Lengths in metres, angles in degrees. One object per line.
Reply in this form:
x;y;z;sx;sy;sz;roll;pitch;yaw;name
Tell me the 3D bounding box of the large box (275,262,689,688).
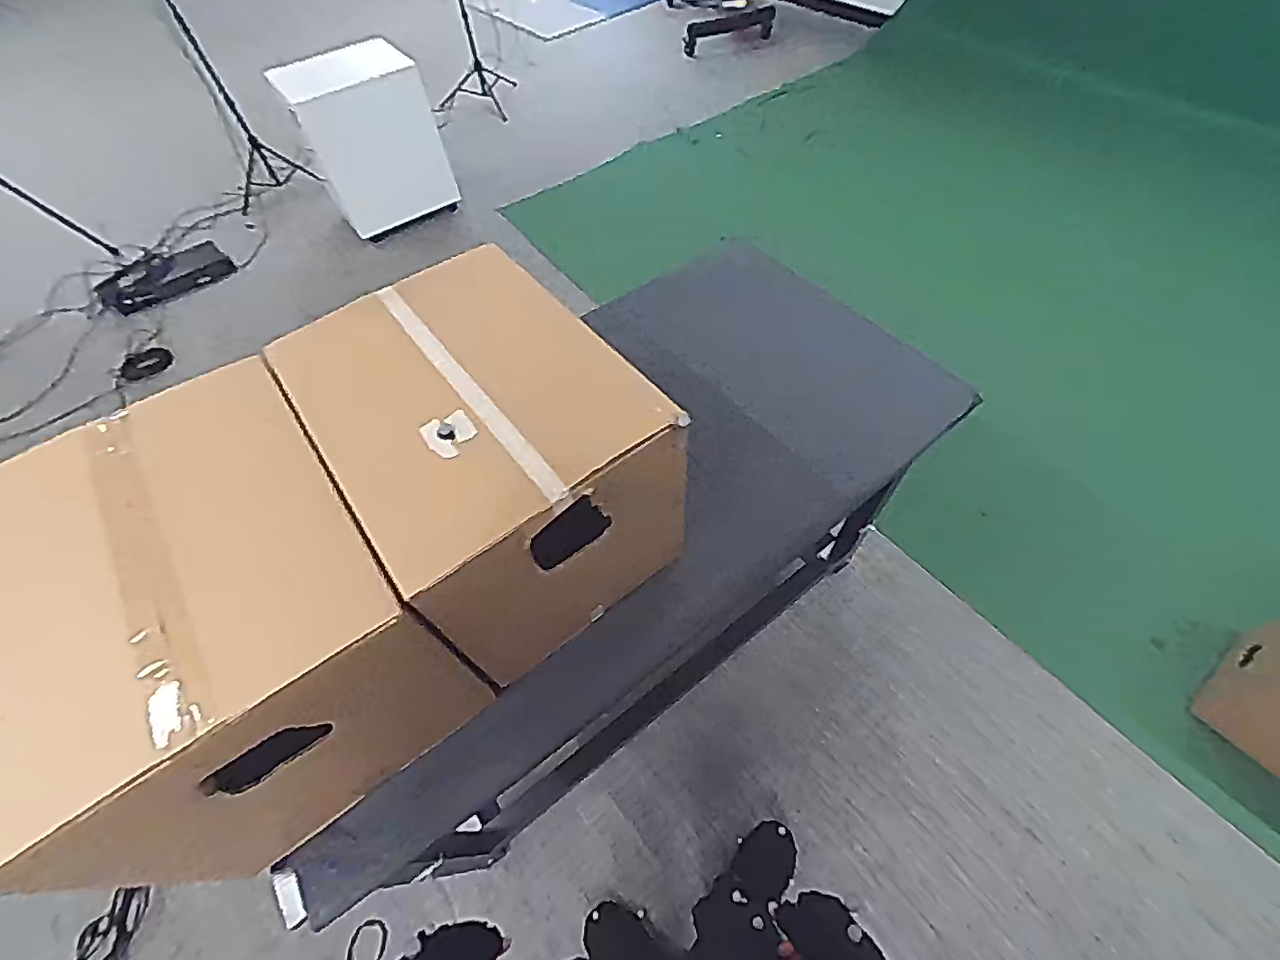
-0.185;-0.012;0.719;0.320;0.320;0.408;-35;61;-18;large box
